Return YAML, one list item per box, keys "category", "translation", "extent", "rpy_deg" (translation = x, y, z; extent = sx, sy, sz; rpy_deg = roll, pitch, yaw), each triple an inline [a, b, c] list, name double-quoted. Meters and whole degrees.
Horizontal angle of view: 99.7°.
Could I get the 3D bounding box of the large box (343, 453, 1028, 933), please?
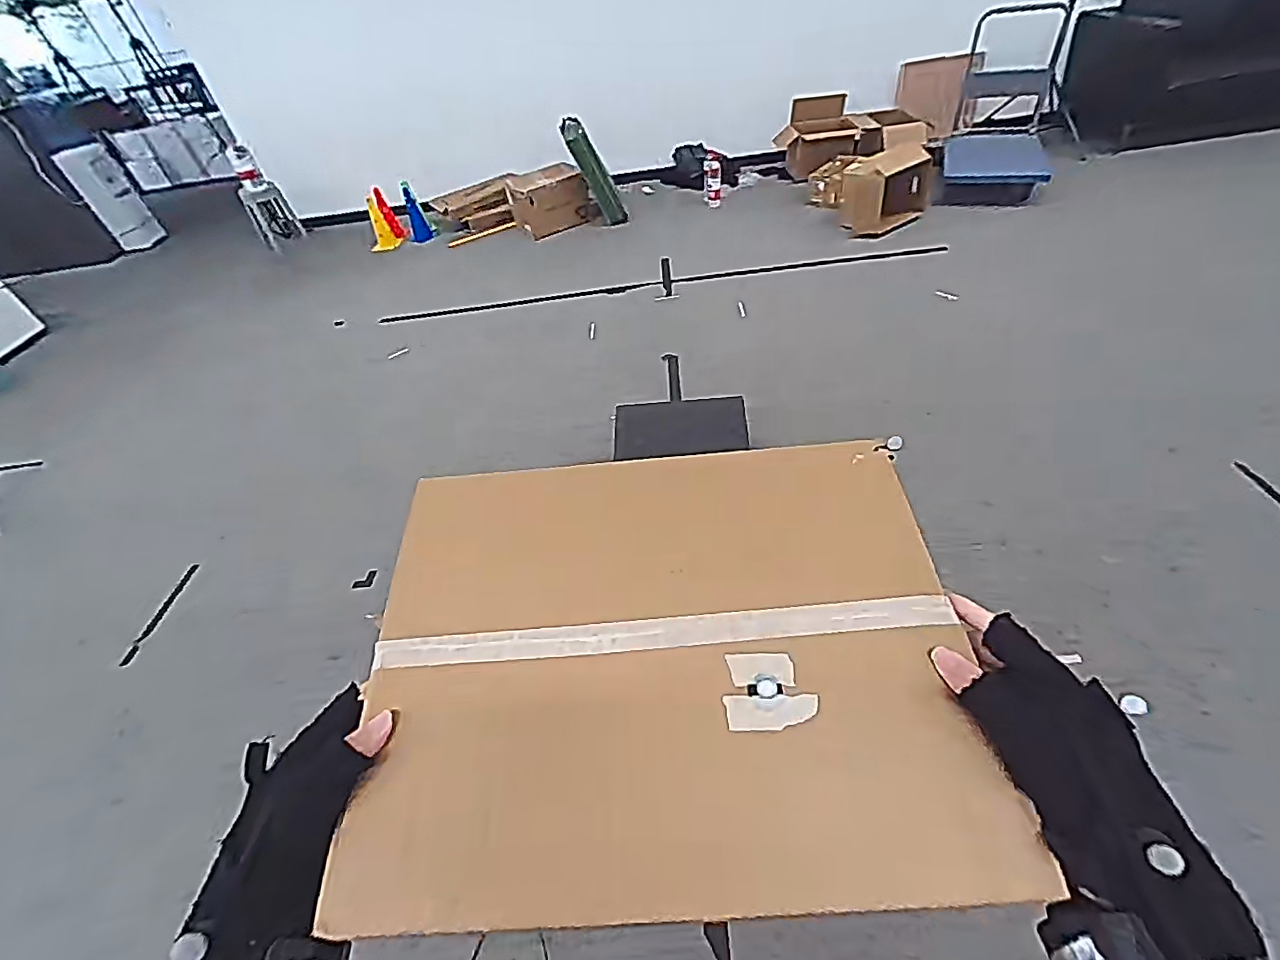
- category: "large box"
  translation: [0.024, 0.205, 0.514]
  extent: [0.408, 0.320, 0.320]
  rpy_deg: [-5, 54, 2]
